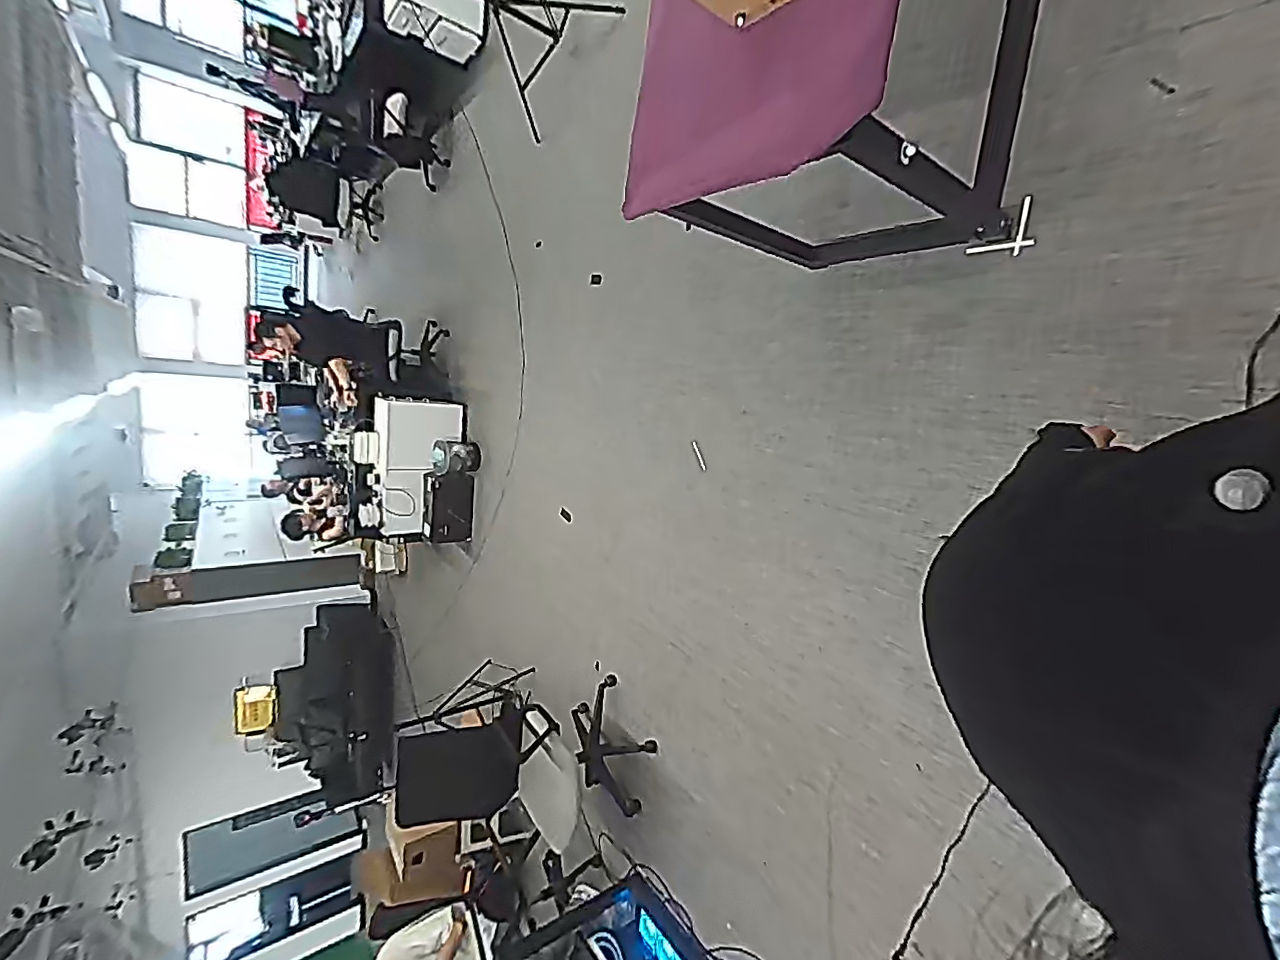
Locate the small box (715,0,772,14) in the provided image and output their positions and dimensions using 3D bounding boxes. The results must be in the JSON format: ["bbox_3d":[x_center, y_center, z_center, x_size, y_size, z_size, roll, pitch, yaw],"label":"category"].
[{"bbox_3d":[0.195,-0.965,0.940,0.168,0.176,0.179,19,105,51],"label":"small box"}]
